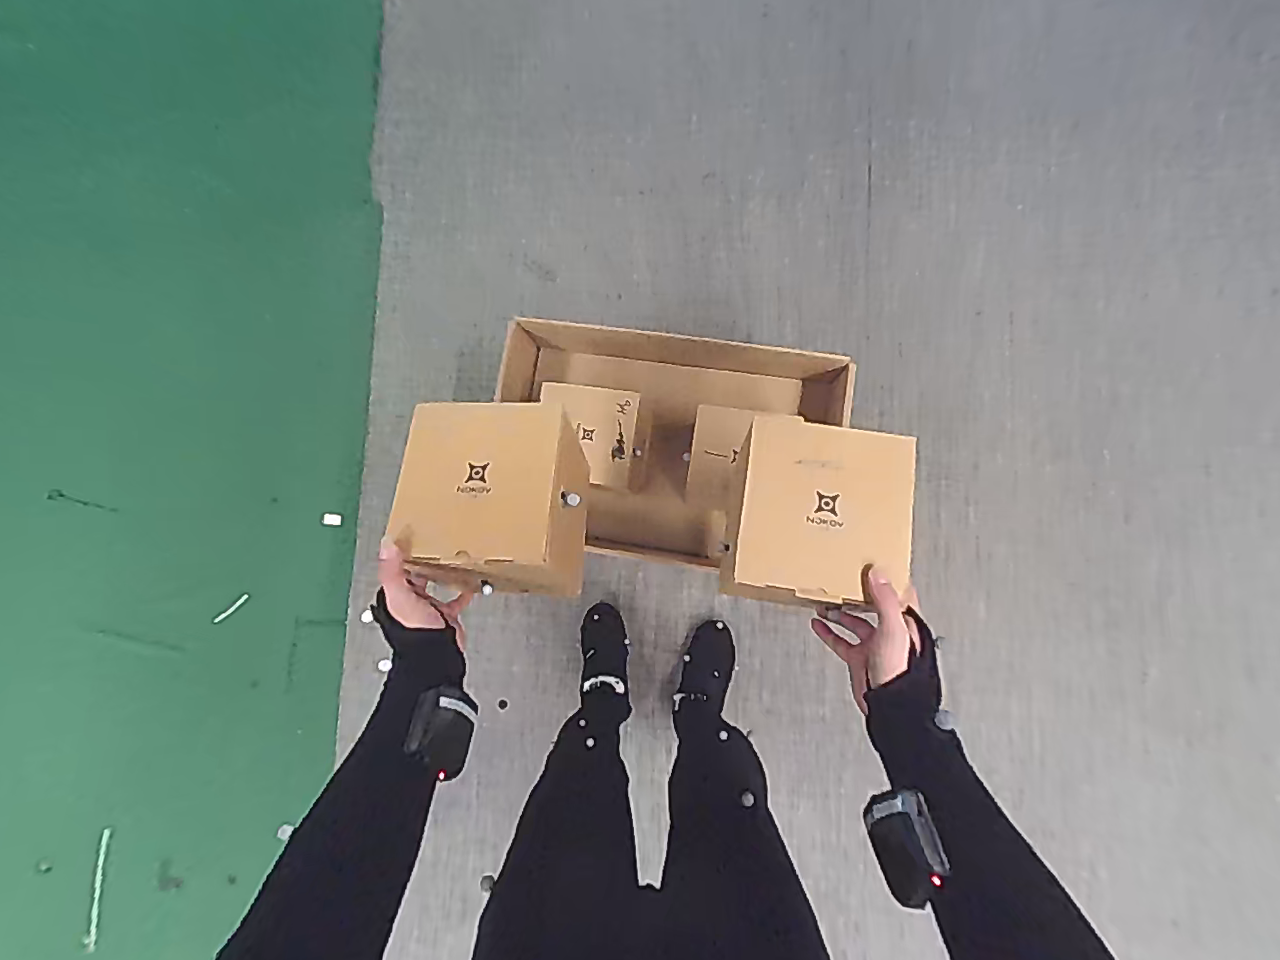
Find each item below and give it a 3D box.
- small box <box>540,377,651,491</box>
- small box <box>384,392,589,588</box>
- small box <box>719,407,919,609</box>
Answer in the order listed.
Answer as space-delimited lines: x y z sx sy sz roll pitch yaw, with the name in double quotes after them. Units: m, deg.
-0.085 -0.076 0.983 0.179 0.176 0.168 9 85 8 "small box"
-0.156 0.018 0.618 0.168 0.176 0.179 1 69 5 "small box"
0.185 0.042 0.600 0.168 0.176 0.179 10 74 5 "small box"
